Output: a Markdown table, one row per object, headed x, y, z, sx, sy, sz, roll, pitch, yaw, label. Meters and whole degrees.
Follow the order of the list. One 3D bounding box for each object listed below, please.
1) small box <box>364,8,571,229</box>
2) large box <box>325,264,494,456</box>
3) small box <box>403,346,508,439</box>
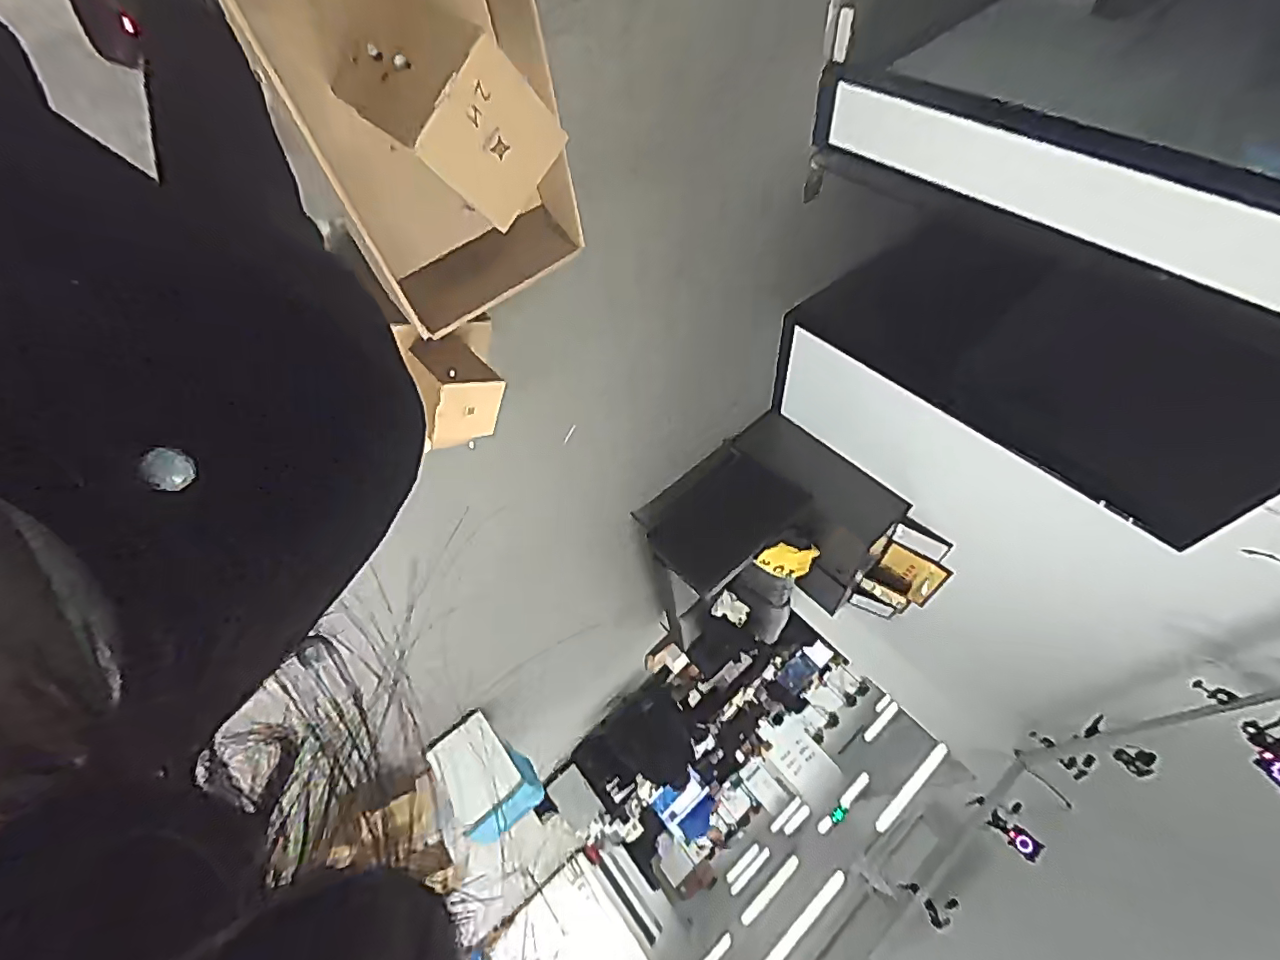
| x | y | z | sx | sy | sz | roll | pitch | yaw | label |
| --- | --- | --- | --- | --- | --- | --- | --- | --- | --- |
| -0.236 | -0.495 | 0.746 | 0.168 | 0.176 | 0.179 | -52 | 151 | 9 | small box |
| -0.643 | -0.339 | 1.493 | 0.320 | 0.320 | 0.408 | -18 | 142 | -42 | large box |
| -0.467 | -0.225 | 1.361 | 0.179 | 0.176 | 0.168 | -15 | 139 | -46 | small box |
